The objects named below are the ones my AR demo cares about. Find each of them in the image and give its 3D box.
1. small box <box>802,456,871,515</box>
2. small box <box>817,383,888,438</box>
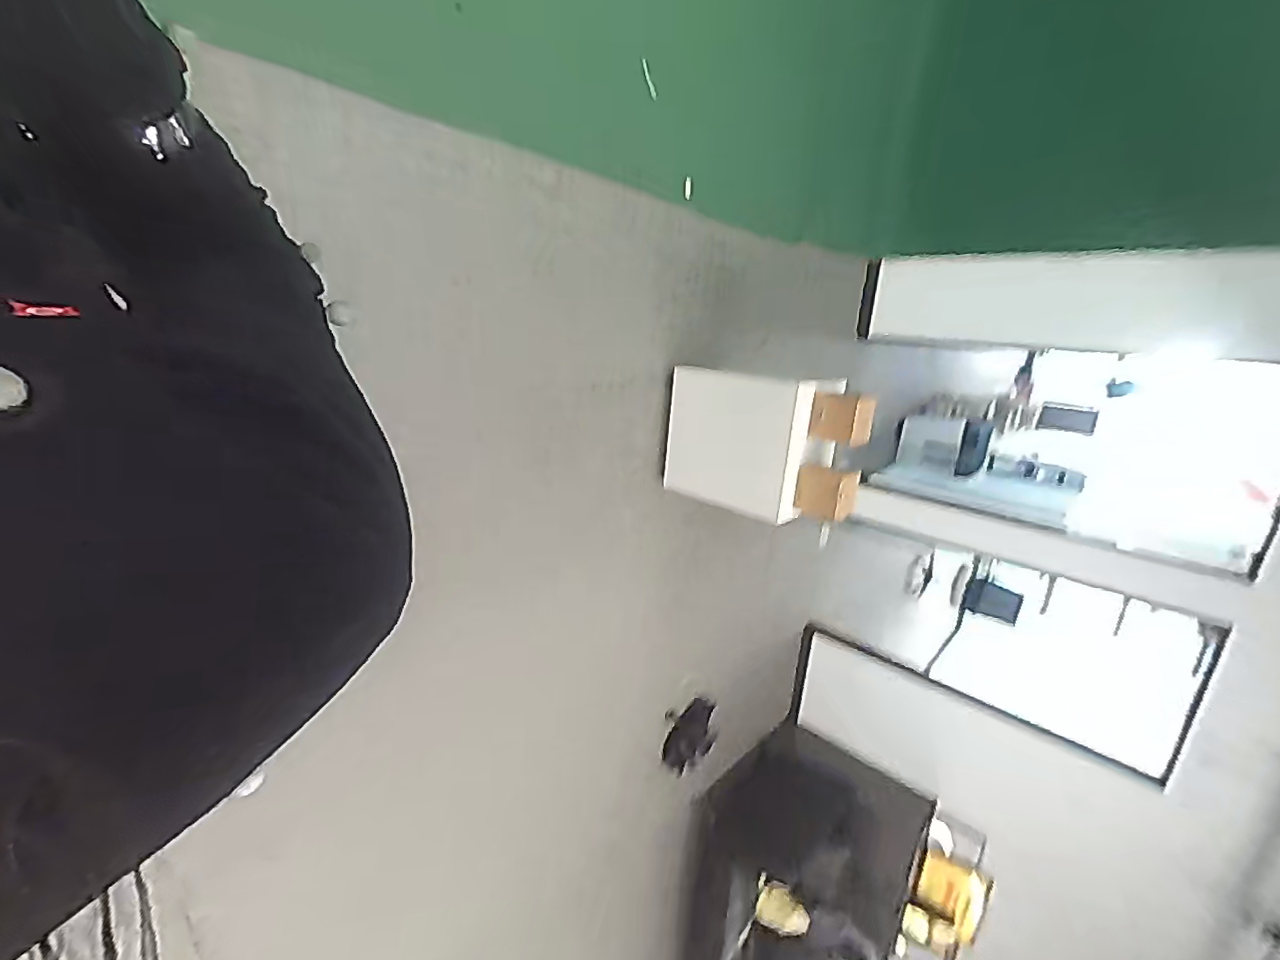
[{"bbox_3d":[0.728,0.014,2.008,0.179,0.176,0.168,-13,113,-45],"label":"small box"},{"bbox_3d":[0.763,-0.255,1.948,0.179,0.176,0.168,-14,114,-43],"label":"small box"}]
